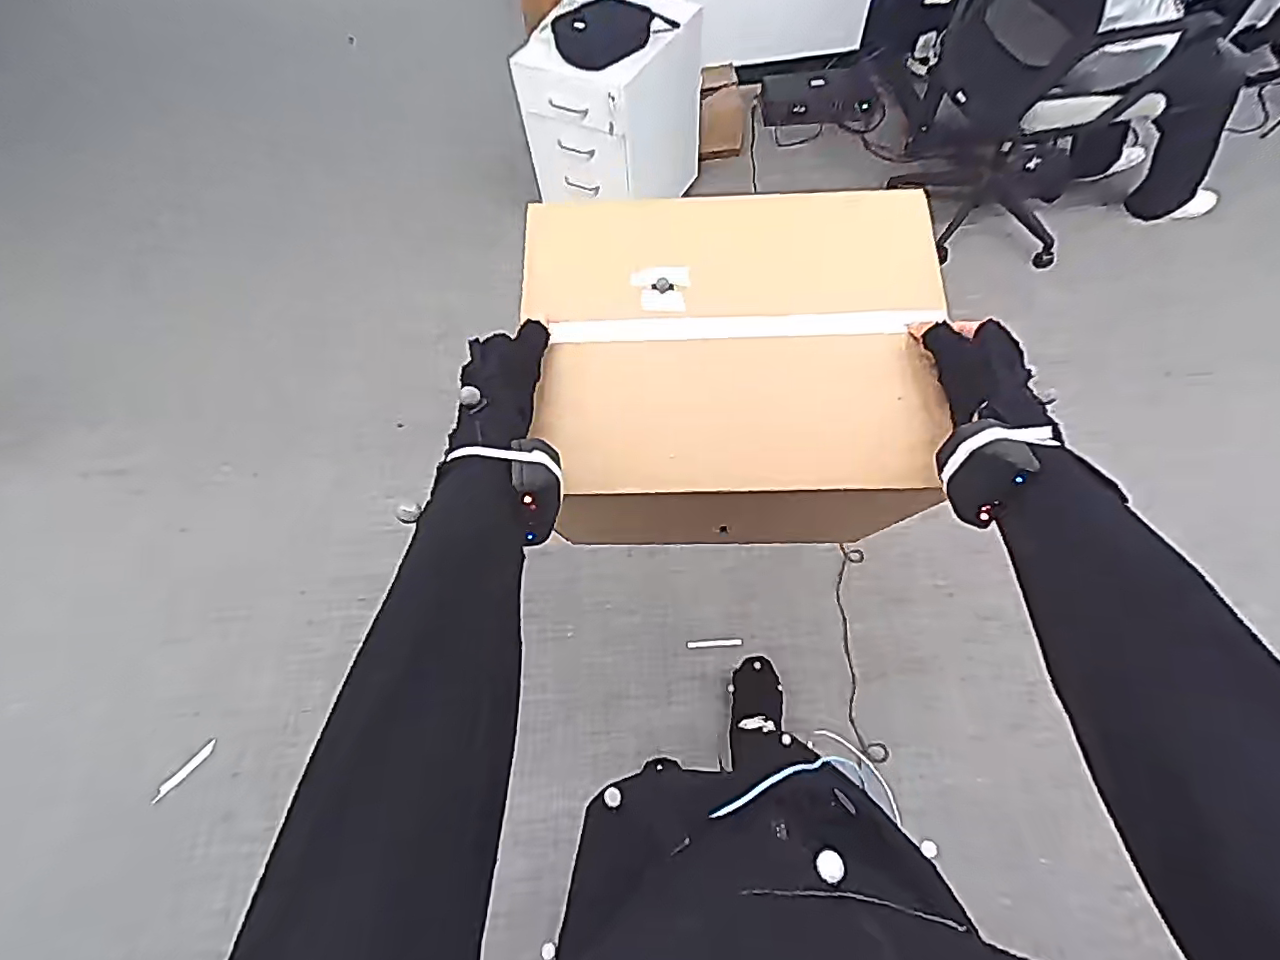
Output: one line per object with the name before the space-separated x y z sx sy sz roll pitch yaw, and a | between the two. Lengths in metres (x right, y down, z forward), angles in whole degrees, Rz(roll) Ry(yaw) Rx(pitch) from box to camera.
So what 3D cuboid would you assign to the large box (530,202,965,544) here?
large box | 0.103 -0.096 0.675 0.408 0.320 0.320 -1 74 3
